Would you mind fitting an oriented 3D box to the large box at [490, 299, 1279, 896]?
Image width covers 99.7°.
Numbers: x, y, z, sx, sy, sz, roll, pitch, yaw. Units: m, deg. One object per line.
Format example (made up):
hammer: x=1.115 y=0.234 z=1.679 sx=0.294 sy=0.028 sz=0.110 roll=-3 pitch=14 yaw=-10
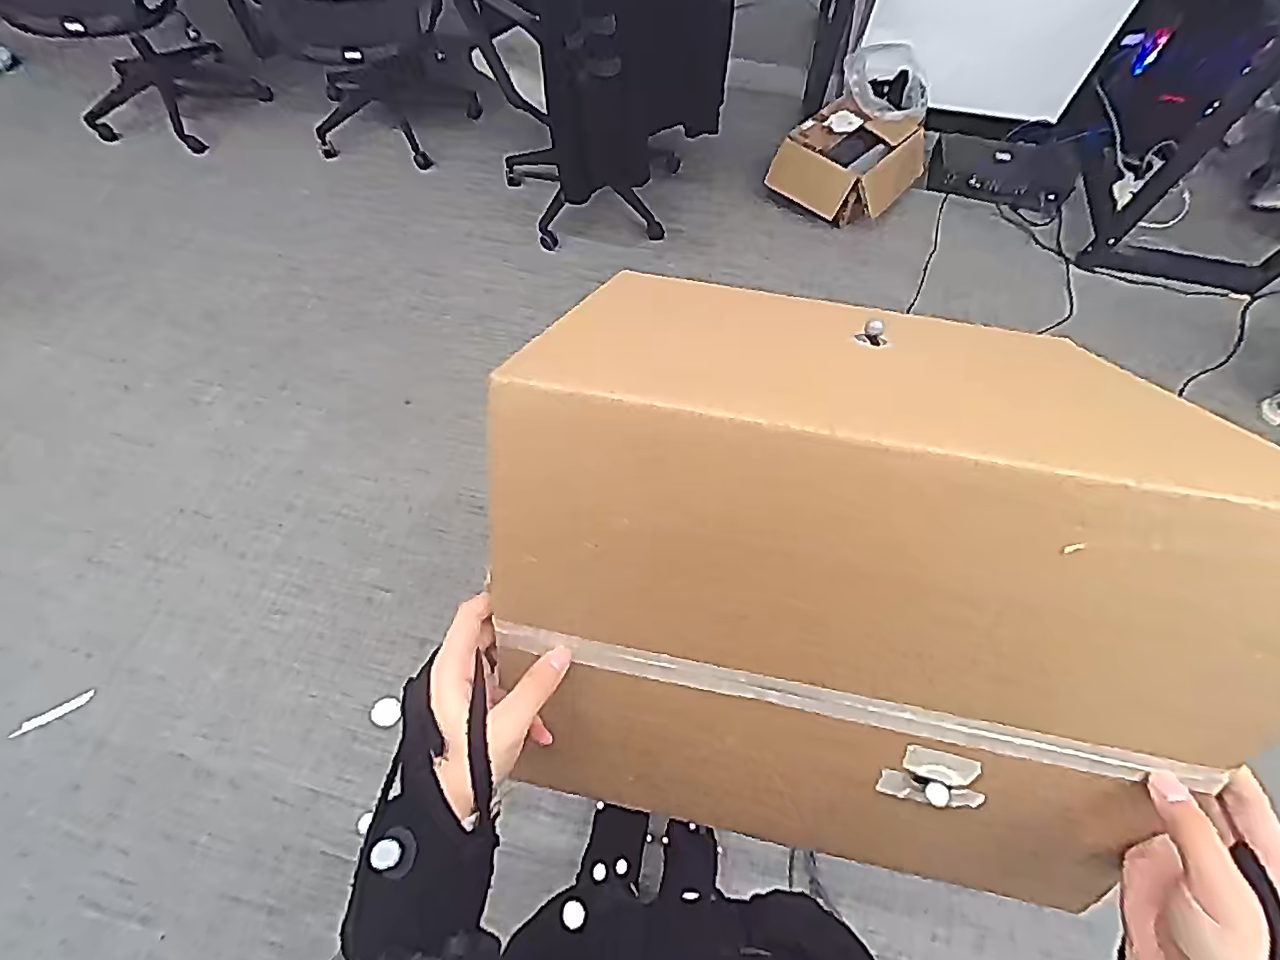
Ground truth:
large box: x=0.130 y=0.054 z=0.442 sx=0.408 sy=0.320 sz=0.320 roll=9 pitch=31 yaw=5
